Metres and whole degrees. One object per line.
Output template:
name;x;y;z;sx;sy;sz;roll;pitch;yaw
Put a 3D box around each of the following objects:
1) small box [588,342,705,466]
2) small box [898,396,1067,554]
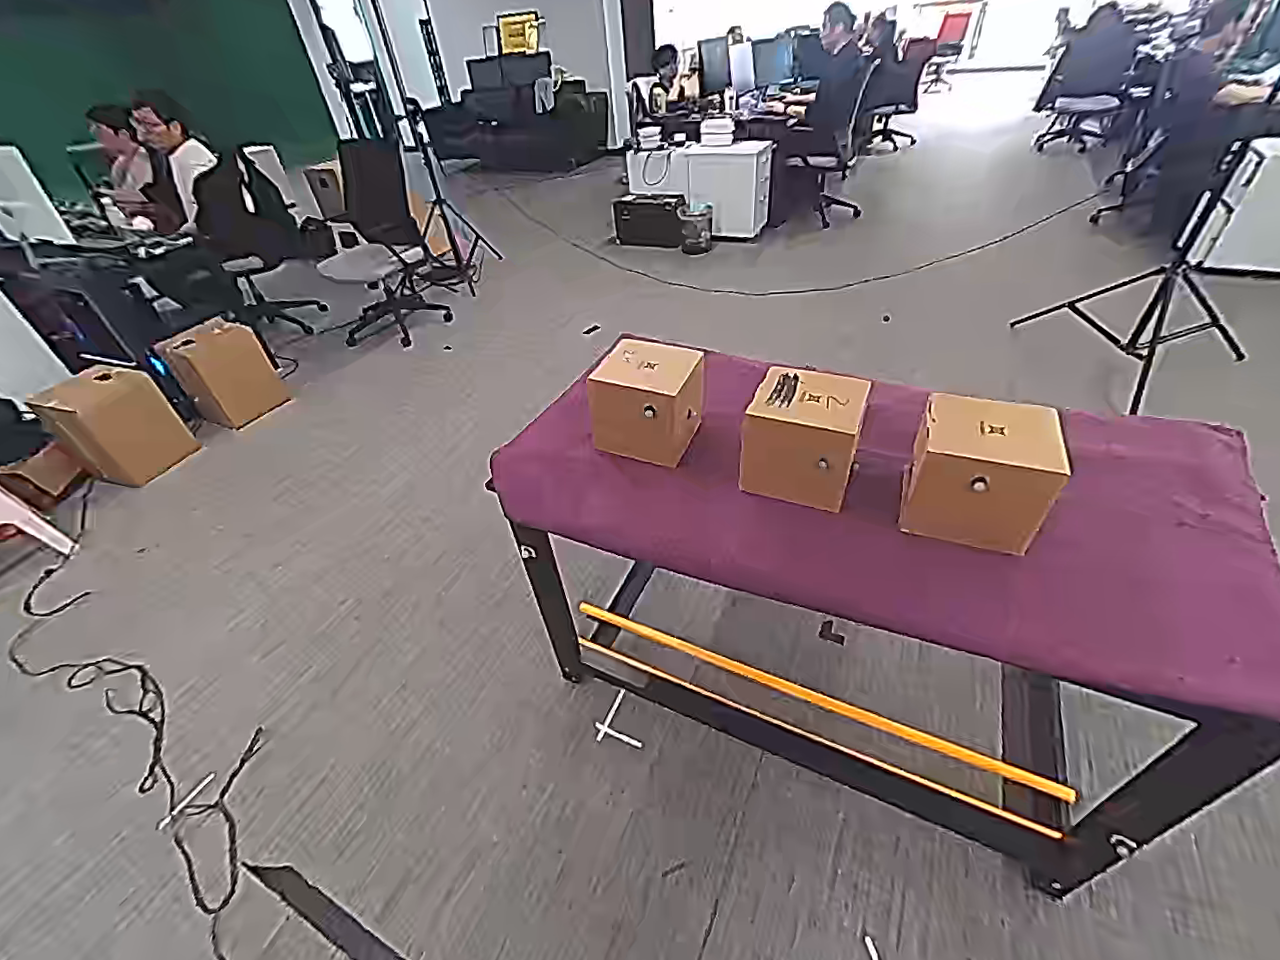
small box;0.018;-0.148;1.067;0.179;0.176;0.168;15;44;19
small box;0.525;-0.007;0.849;0.179;0.176;0.168;12;44;21
